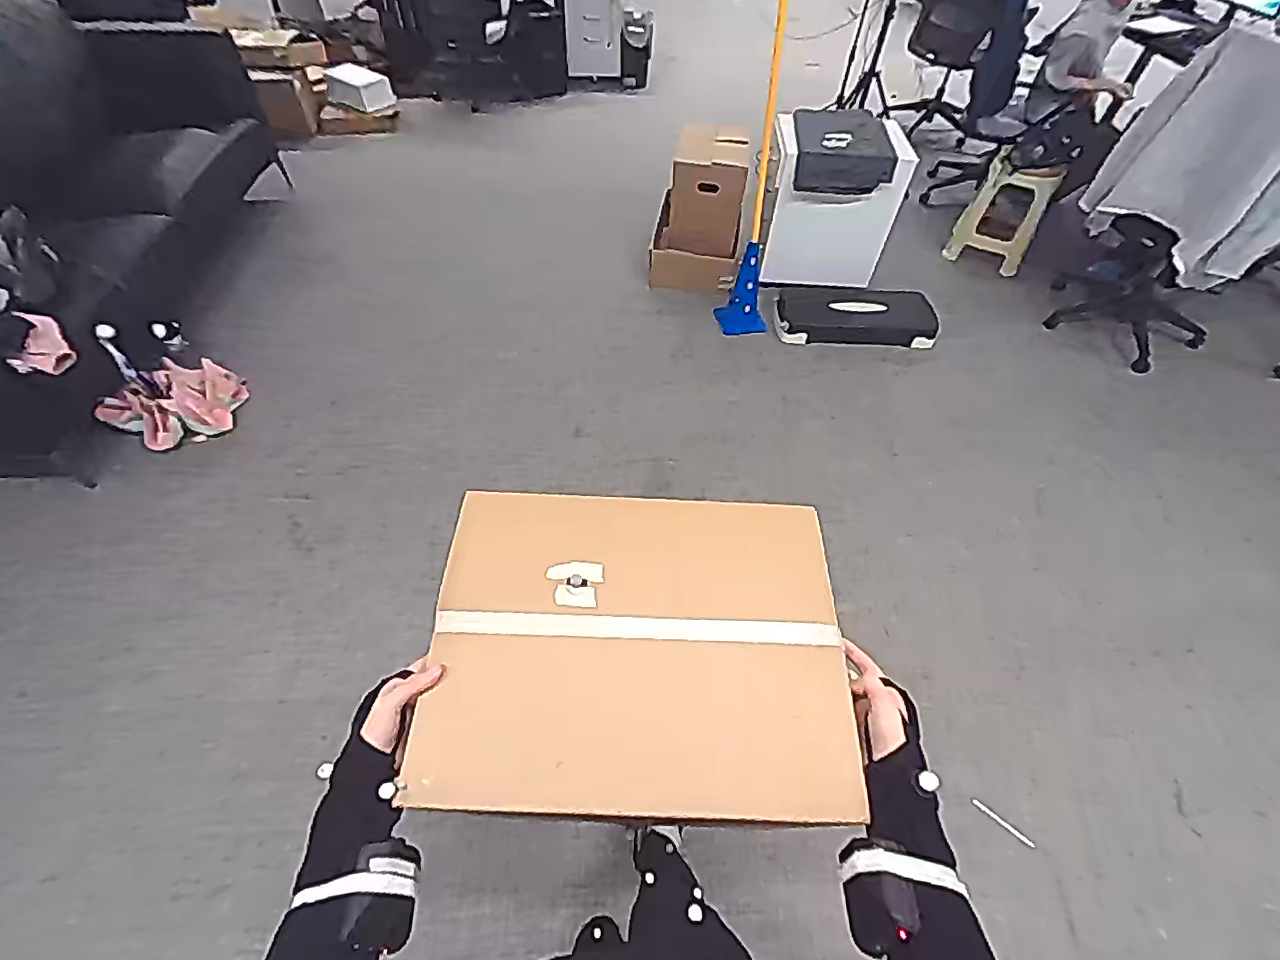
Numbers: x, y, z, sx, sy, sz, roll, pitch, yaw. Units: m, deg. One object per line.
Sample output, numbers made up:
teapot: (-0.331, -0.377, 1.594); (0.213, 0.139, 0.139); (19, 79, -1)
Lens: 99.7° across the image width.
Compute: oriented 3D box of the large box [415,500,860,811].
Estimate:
large box: (0.000, 0.235, 0.682); (0.408, 0.320, 0.320); (2, 56, 0)
